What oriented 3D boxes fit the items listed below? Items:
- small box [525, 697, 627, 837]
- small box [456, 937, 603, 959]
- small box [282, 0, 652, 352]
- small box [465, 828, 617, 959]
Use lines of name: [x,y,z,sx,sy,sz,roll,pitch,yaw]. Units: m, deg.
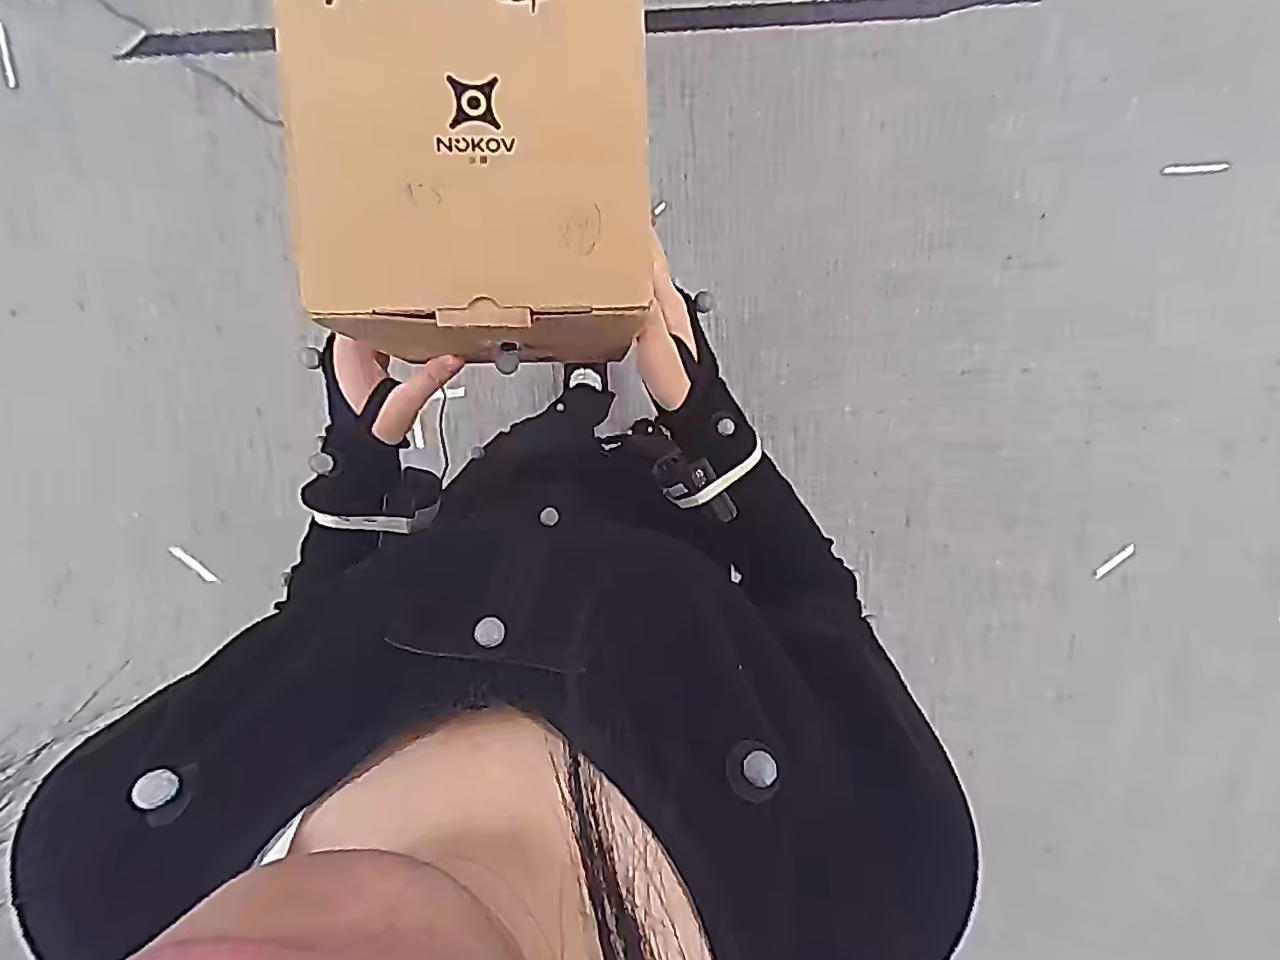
small box: [-0.113,0.540,1.027,0.168,0.176,0.179,-3,98,1]
small box: [-0.119,0.611,0.539,0.168,0.176,0.179,-4,98,1]
small box: [-0.084,-0.175,0.329,0.168,0.176,0.179,-2,95,-7]
small box: [-0.117,0.588,0.702,0.168,0.176,0.179,-1,99,1]
